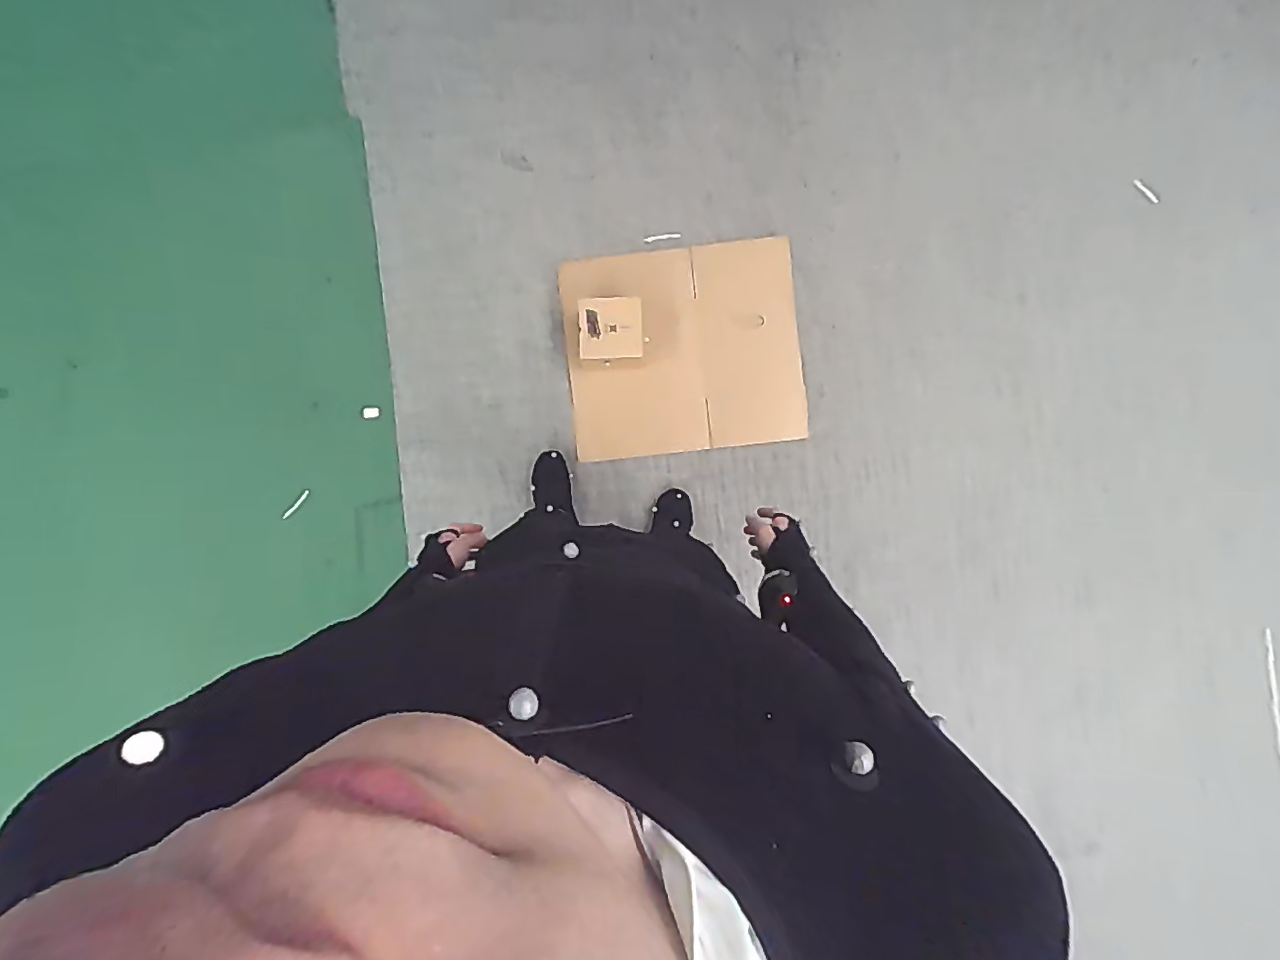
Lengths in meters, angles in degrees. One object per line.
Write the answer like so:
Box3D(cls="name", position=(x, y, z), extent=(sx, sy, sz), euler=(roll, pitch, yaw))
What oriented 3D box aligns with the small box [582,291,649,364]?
Box3D(cls="small box", position=(-0.064, -0.429, 1.540), extent=(0.179, 0.176, 0.168), euler=(-1, 92, 2))
